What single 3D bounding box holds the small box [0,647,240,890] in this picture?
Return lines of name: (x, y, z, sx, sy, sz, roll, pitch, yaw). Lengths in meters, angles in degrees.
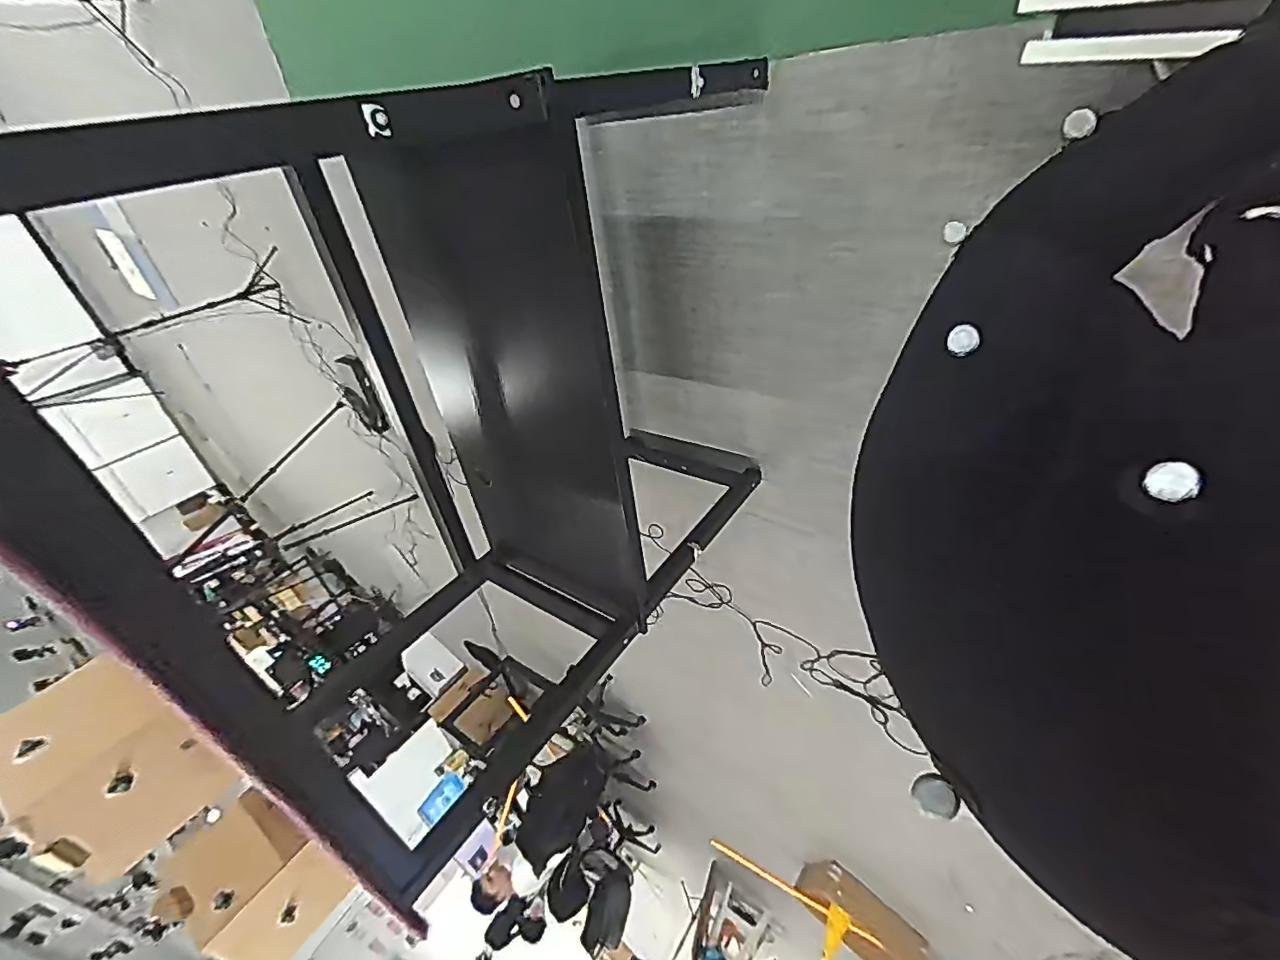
small box: (-0.642, 0.341, 0.667, 0.179, 0.176, 0.168, 20, 133, 32)
